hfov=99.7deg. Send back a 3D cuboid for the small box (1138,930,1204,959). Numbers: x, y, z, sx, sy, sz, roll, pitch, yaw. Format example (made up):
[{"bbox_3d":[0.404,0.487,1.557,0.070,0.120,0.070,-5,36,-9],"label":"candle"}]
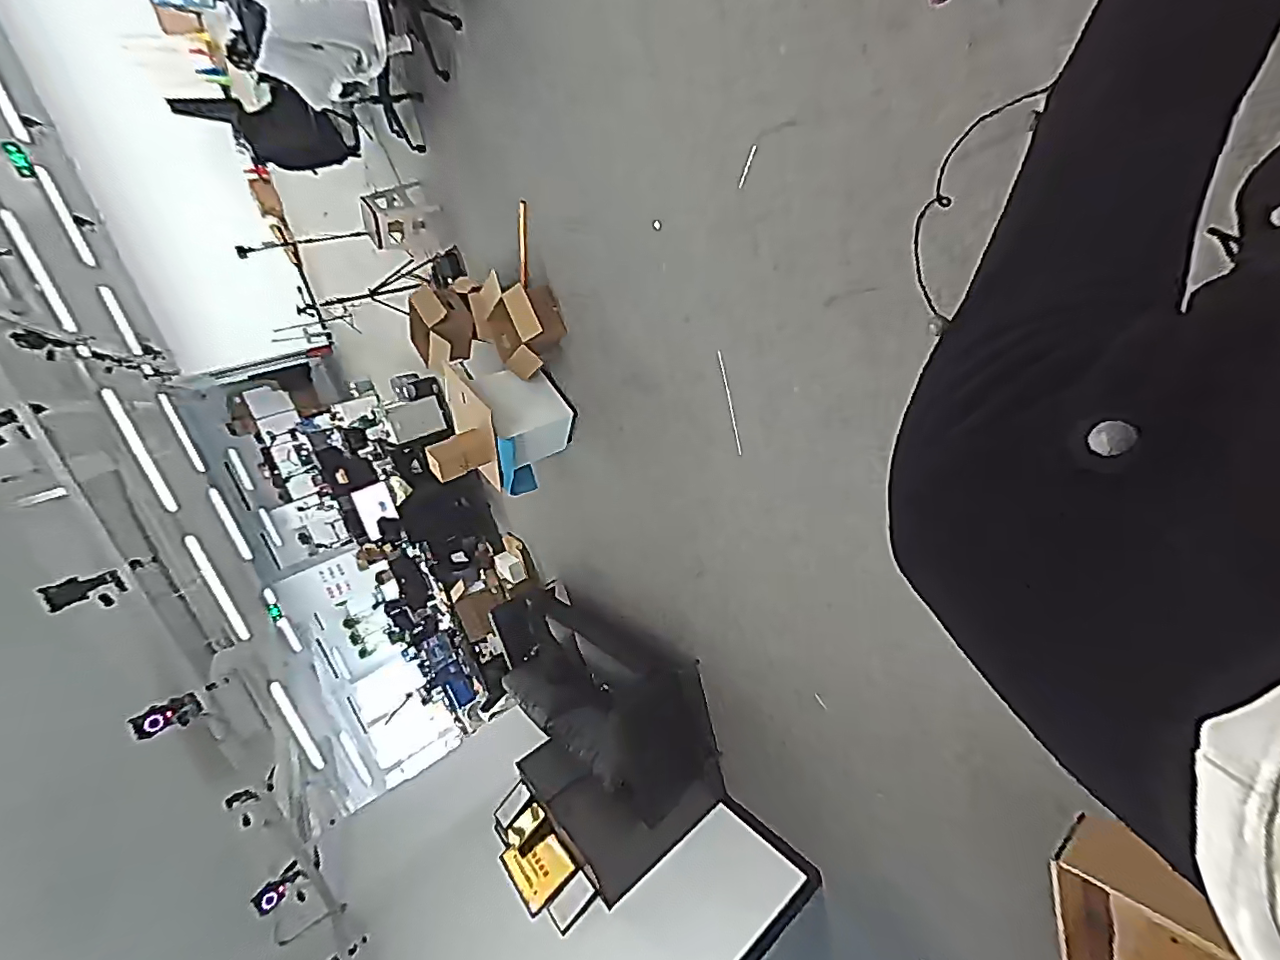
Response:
[{"bbox_3d":[1.241,1.194,1.227,0.168,0.176,0.179,8,121,55],"label":"small box"}]
